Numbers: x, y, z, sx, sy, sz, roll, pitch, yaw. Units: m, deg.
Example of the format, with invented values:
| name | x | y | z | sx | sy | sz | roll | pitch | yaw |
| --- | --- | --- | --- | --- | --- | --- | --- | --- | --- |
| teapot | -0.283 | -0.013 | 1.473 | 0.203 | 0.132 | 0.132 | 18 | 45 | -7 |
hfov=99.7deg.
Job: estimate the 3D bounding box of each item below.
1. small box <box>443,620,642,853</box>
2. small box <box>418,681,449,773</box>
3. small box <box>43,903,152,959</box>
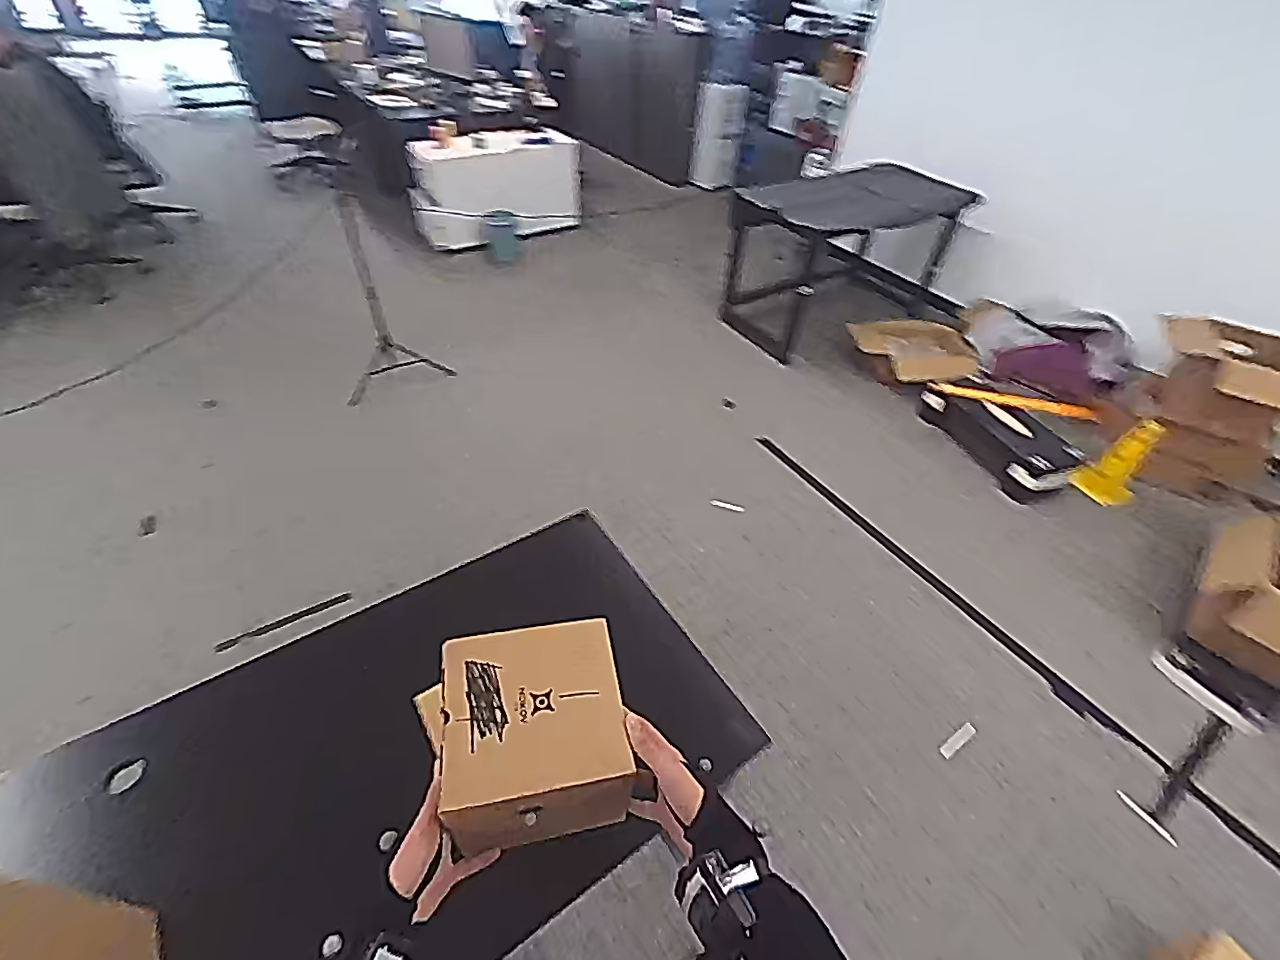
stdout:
| name | x | y | z | sx | sy | sz | roll | pitch | yaw |
| --- | --- | --- | --- | --- | --- | --- | --- | --- | --- |
| small box | -0.103 | 0.274 | 0.580 | 0.179 | 0.176 | 0.168 | -4 | 46 | -13 |
| small box | -0.198 | 0.380 | 0.783 | 0.168 | 0.176 | 0.179 | -24 | 52 | -26 |
| small box | -0.636 | 0.583 | 0.549 | 0.168 | 0.176 | 0.179 | -26 | 52 | -27 |
